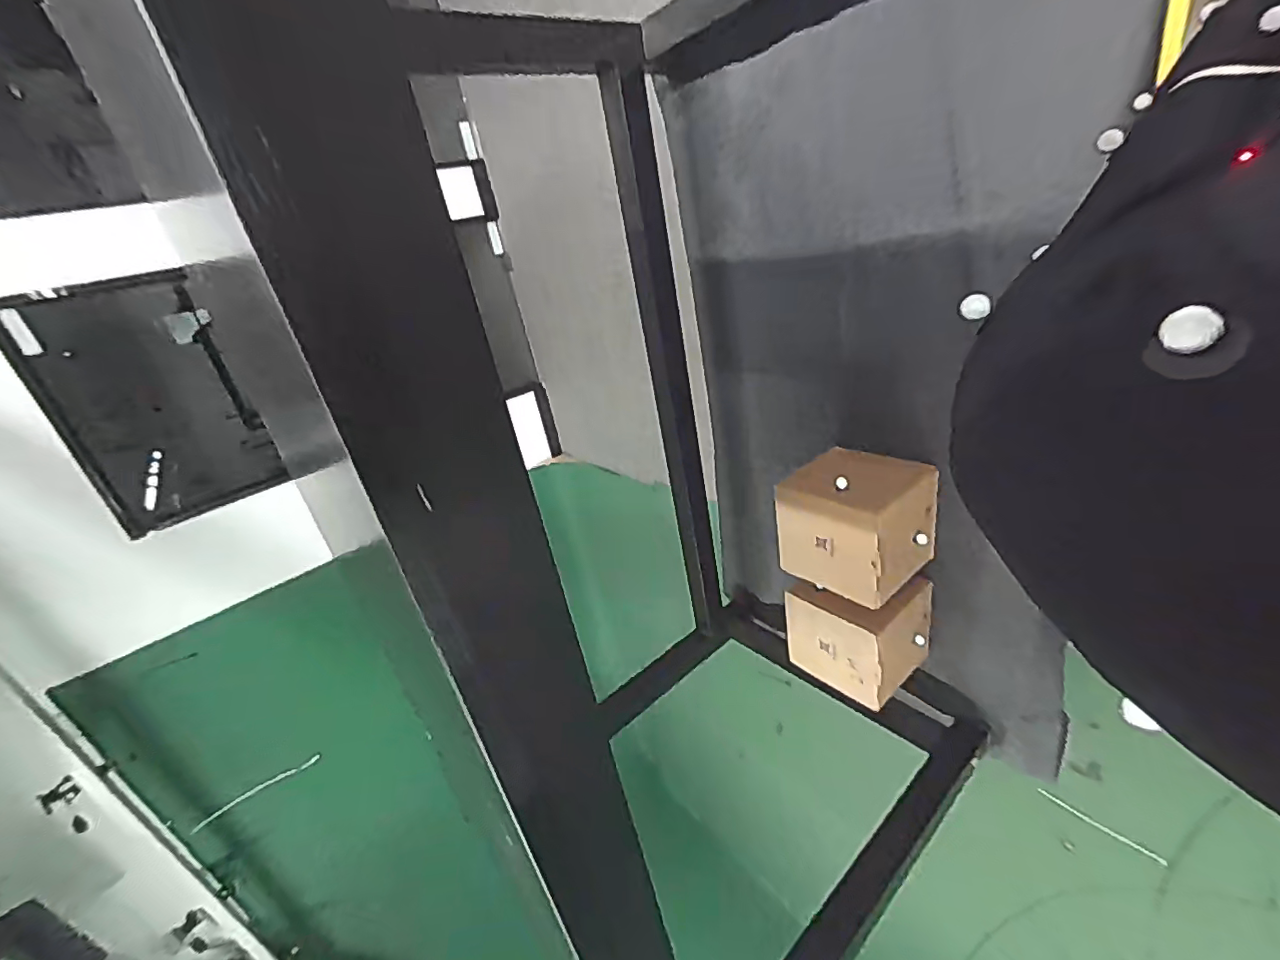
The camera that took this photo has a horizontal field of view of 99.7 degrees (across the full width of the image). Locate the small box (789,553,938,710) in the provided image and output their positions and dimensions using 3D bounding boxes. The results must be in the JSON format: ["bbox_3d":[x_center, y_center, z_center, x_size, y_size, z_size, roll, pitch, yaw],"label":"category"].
[{"bbox_3d":[0.384,0.248,0.938,0.179,0.176,0.168,21,130,49],"label":"small box"}]
